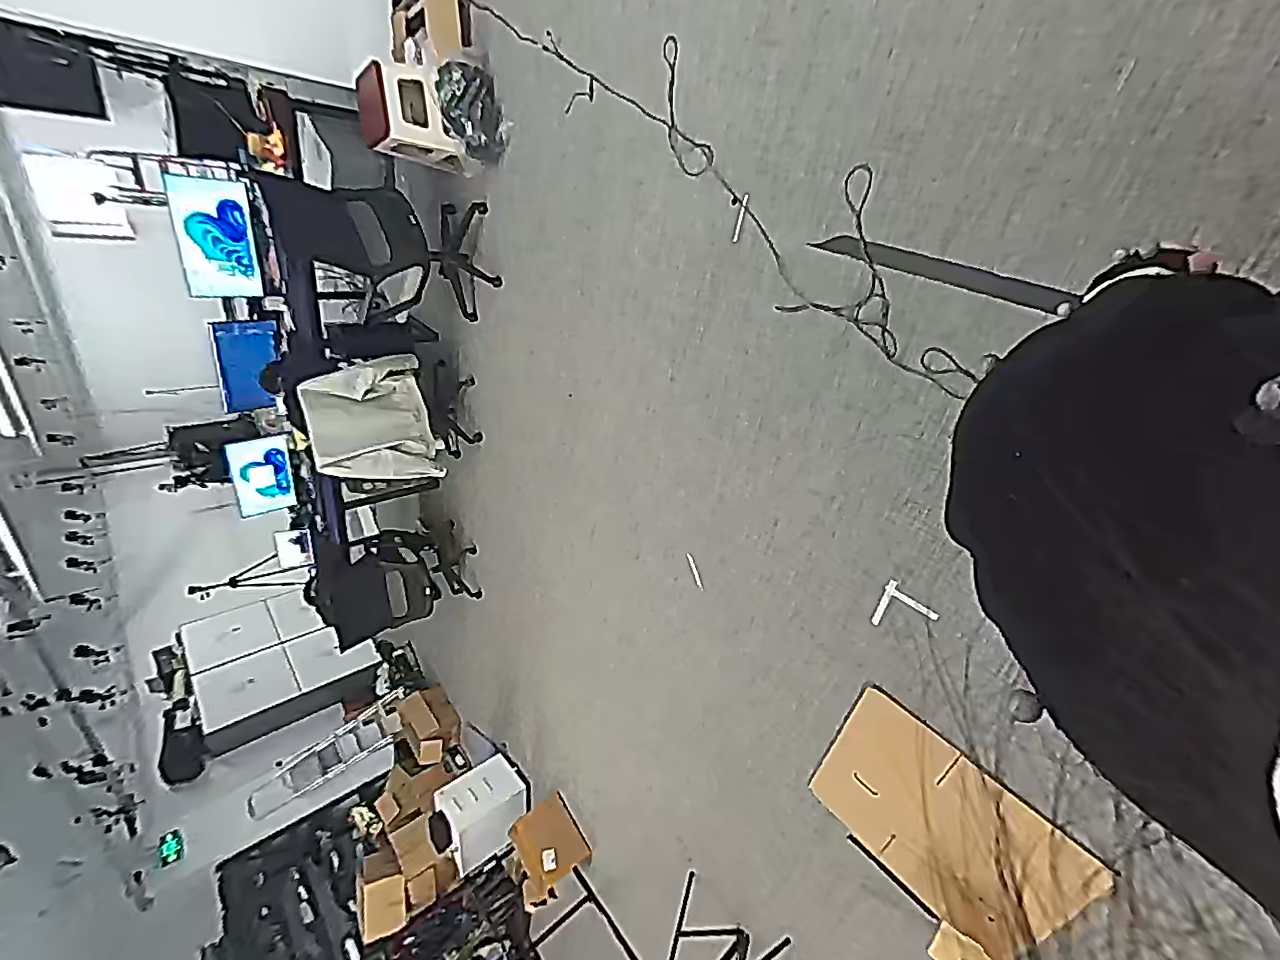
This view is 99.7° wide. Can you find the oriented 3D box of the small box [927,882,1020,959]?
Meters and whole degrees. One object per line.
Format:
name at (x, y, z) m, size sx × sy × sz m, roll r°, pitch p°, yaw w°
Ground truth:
small box at (0.974, 1.340, 1.574) m, size 0.168 × 0.176 × 0.179 m, roll 25°, pitch 121°, yaw 40°
